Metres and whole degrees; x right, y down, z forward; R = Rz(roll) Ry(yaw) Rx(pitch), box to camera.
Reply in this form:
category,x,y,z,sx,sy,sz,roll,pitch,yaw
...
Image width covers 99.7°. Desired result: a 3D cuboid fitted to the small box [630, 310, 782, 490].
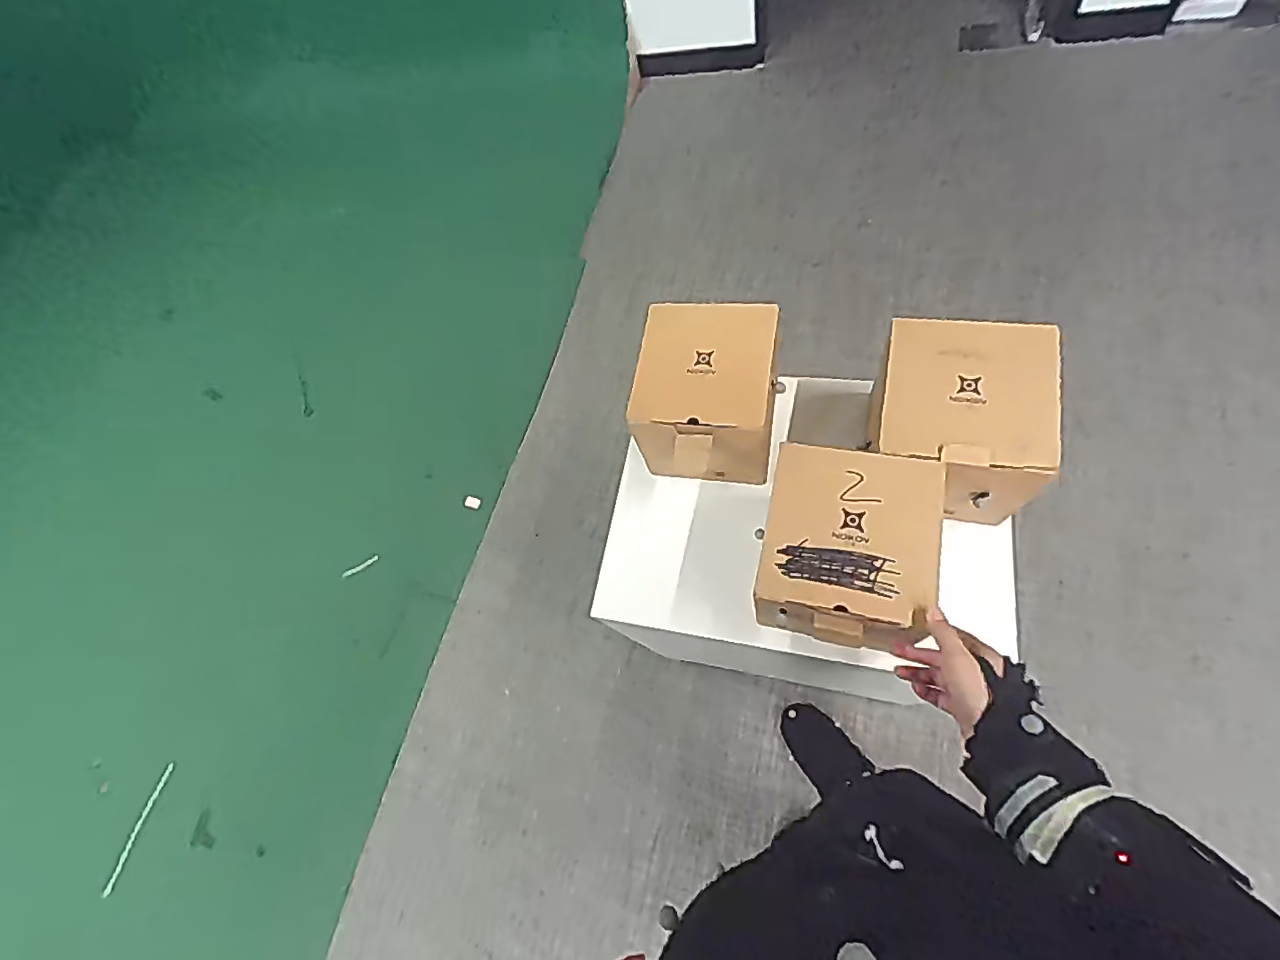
category,x,y,z,sx,sy,sz,roll,pitch,yaw
small box,0.096,-0.103,0.727,0.168,0.176,0.179,5,70,15

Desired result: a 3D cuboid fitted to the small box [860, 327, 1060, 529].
category,x,y,z,sx,sy,sz,roll,pitch,yaw
small box,0.363,-0.055,0.639,0.168,0.176,0.179,8,68,17
